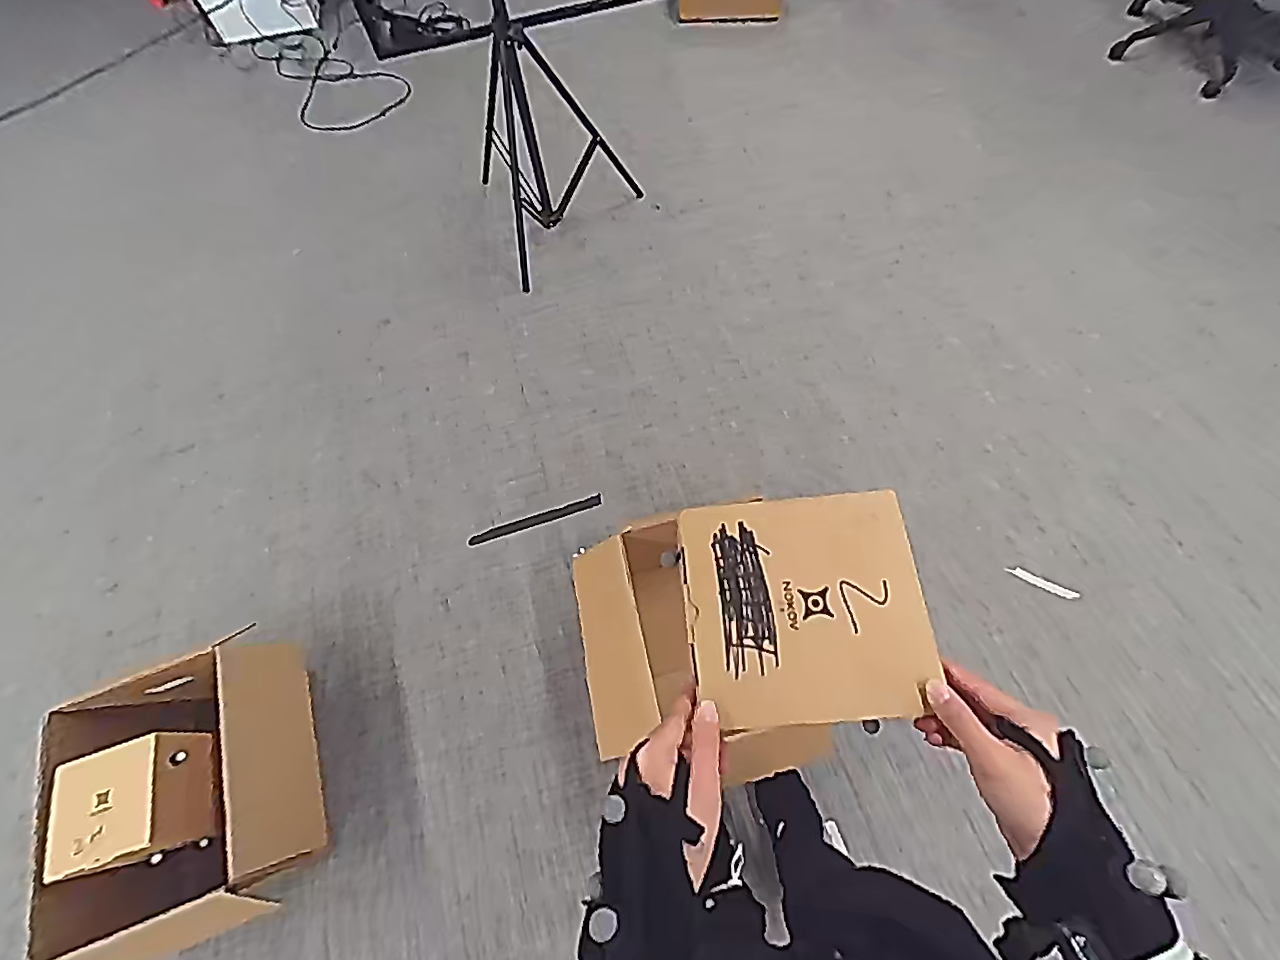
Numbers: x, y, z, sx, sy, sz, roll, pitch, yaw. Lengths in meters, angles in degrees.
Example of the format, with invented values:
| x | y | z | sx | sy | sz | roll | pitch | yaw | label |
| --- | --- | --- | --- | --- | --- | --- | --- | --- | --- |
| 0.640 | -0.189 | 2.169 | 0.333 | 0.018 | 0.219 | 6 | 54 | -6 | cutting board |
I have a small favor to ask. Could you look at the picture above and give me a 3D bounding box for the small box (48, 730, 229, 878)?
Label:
| x | y | z | sx | sy | sz | roll | pitch | yaw | label |
| --- | --- | --- | --- | --- | --- | --- | --- | --- | --- |
| -0.873 | 0.565 | 0.963 | 0.168 | 0.176 | 0.179 | -18 | 65 | -5 | small box |
